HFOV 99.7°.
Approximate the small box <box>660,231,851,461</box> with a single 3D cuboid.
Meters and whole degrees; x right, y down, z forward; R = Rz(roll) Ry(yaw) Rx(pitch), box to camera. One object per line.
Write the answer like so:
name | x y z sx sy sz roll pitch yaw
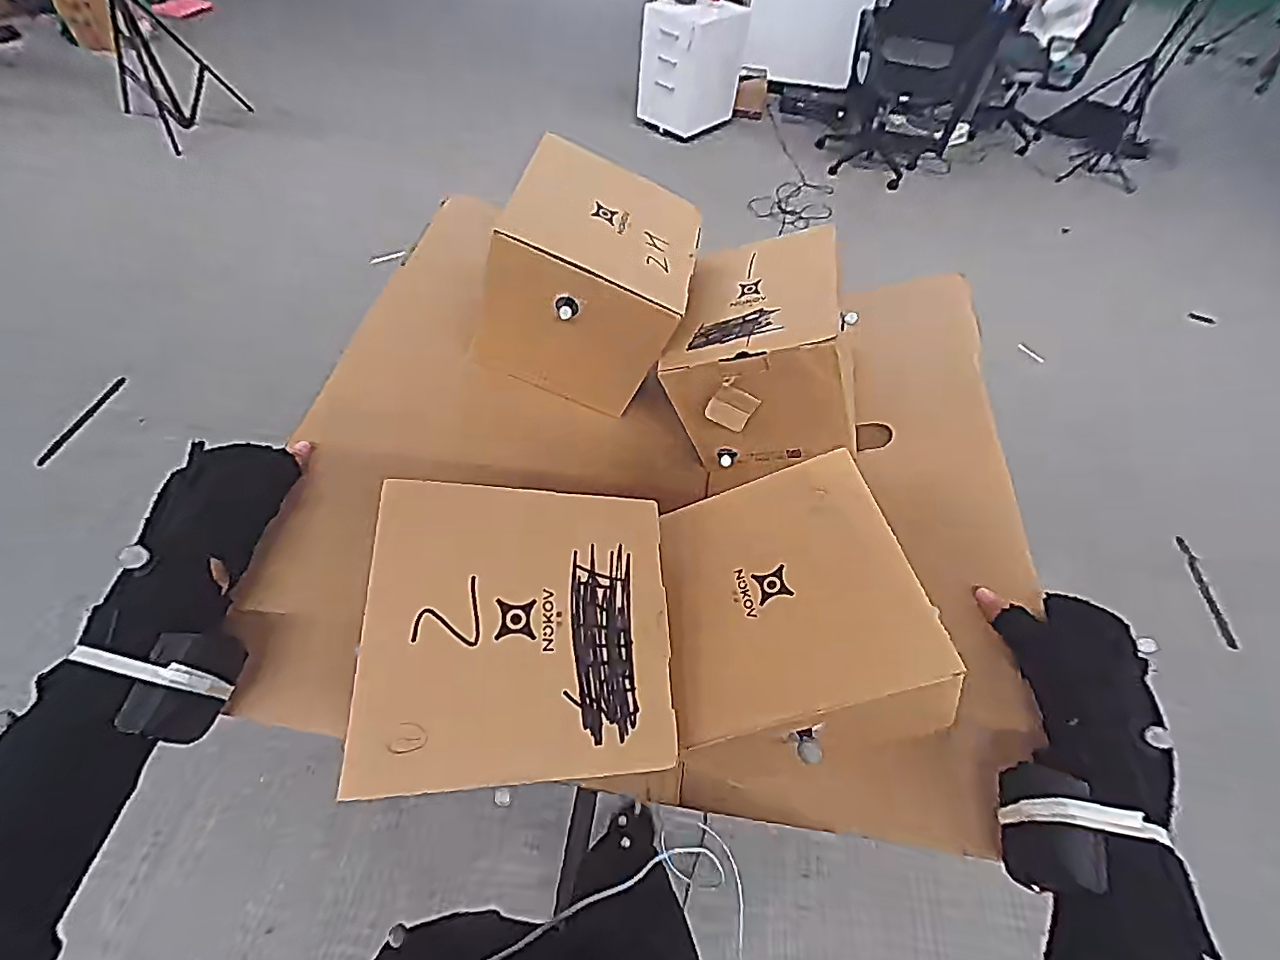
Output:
small box | 0.139 -0.133 0.599 0.168 0.176 0.179 -4 53 25
